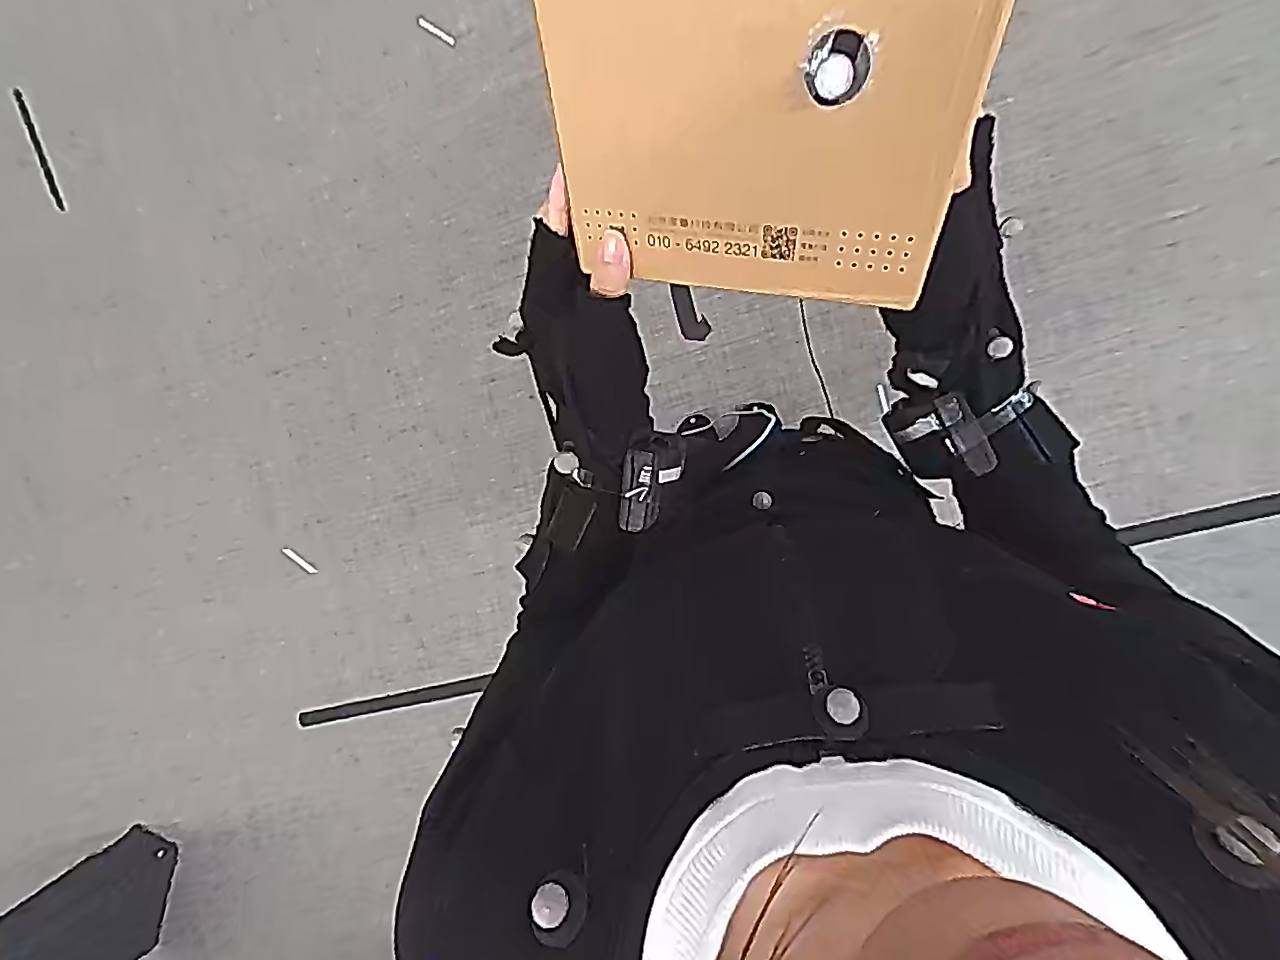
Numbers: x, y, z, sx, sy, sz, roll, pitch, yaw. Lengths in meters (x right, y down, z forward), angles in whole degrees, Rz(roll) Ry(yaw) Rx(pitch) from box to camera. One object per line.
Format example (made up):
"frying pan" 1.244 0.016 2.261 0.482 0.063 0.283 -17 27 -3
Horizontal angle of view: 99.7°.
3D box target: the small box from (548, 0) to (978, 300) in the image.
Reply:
"small box" 0.071 -0.212 0.272 0.168 0.179 0.176 14 141 18
